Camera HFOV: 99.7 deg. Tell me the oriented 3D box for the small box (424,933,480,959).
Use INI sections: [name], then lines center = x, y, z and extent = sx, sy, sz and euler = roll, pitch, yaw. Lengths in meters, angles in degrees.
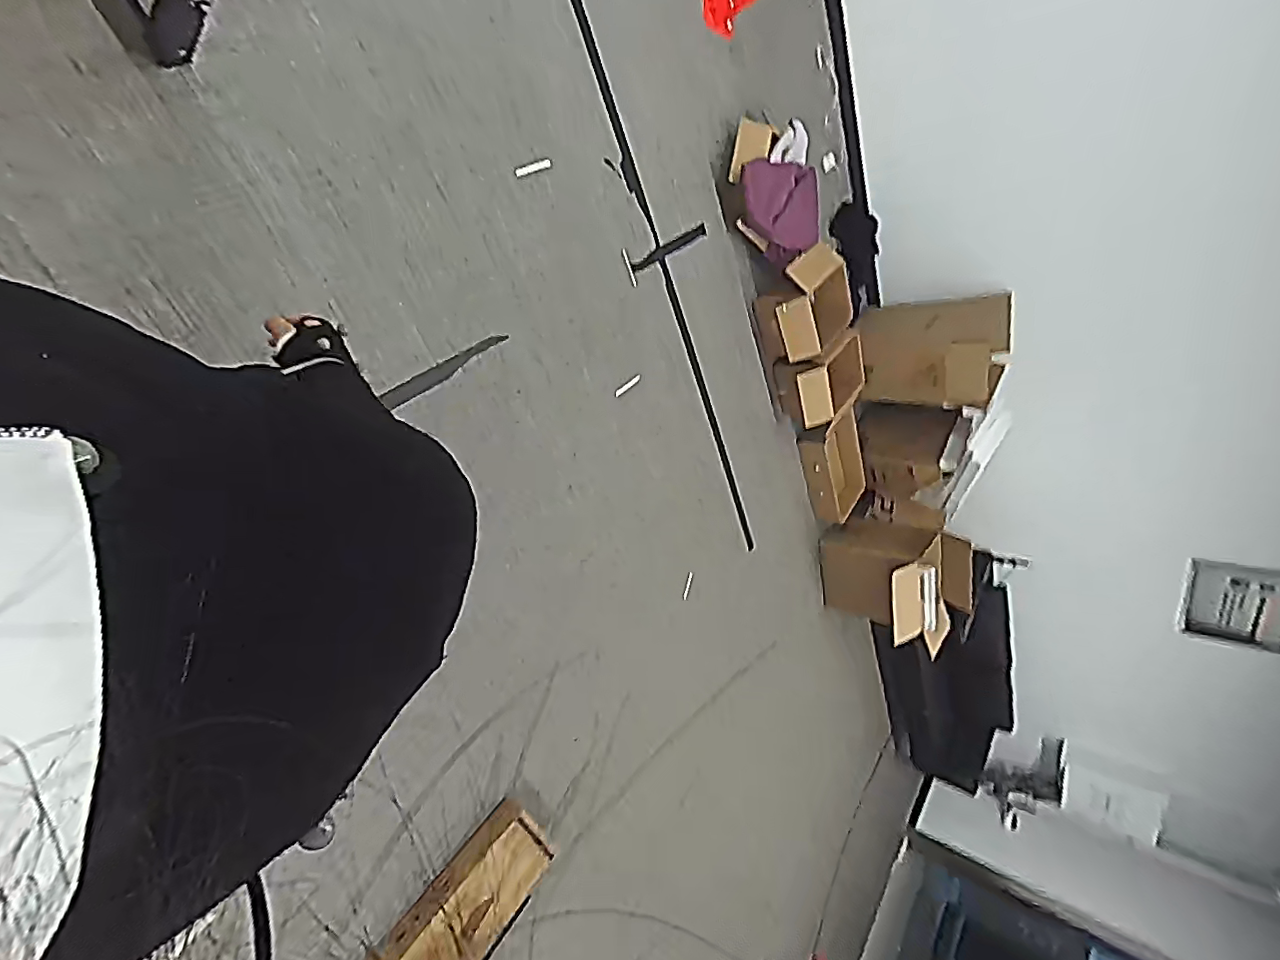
[small box]
center = -0.560, 1.518, 1.619
extent = 0.168, 0.176, 0.179
euler = -45, 126, -33
